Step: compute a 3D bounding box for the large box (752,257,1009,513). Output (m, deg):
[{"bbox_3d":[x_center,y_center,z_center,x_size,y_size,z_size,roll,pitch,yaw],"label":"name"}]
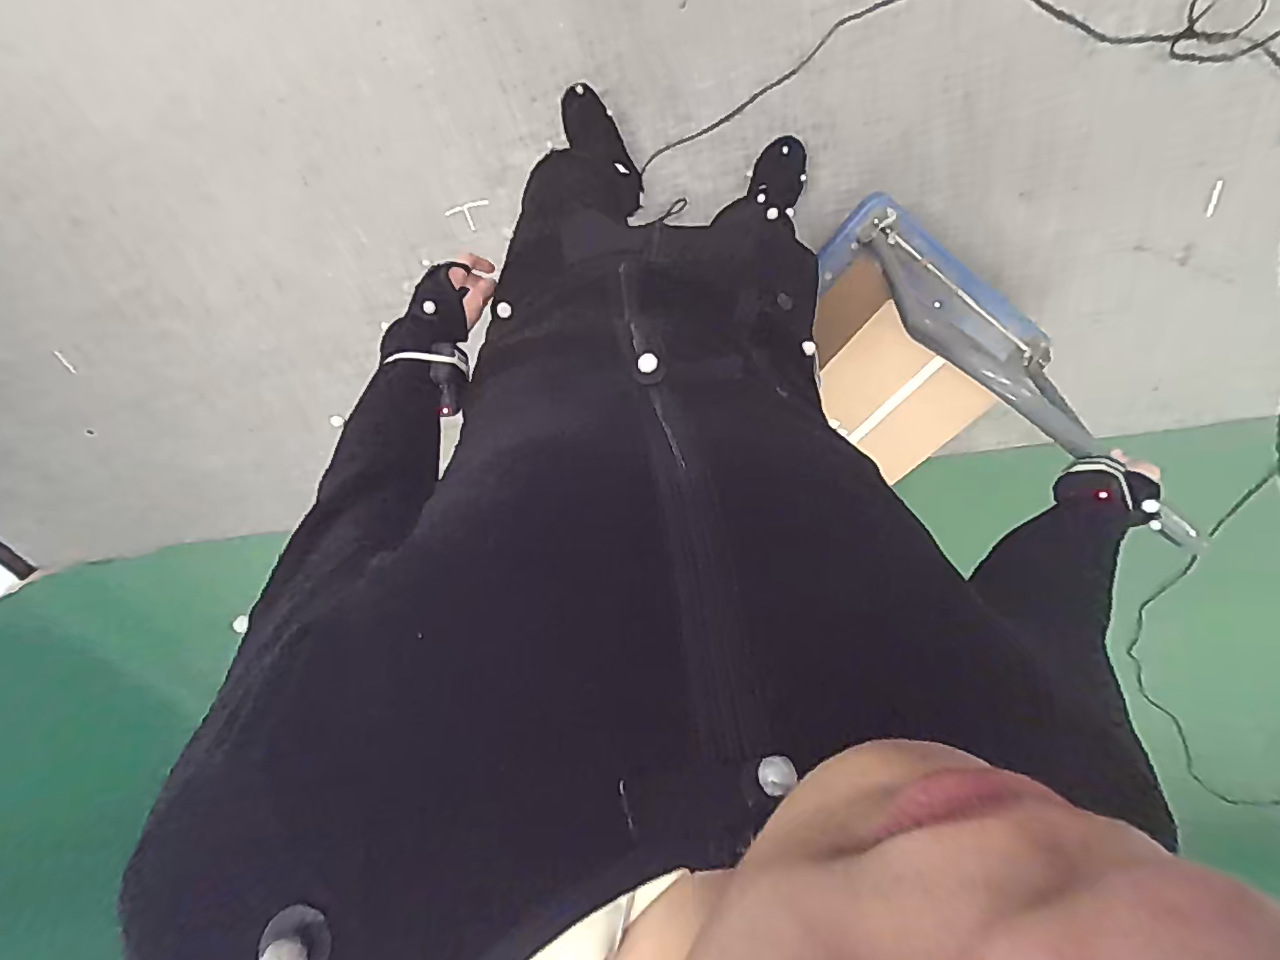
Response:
[{"bbox_3d":[0.497,-0.211,1.217,0.320,0.320,0.408,31,126,-12],"label":"large box"}]
